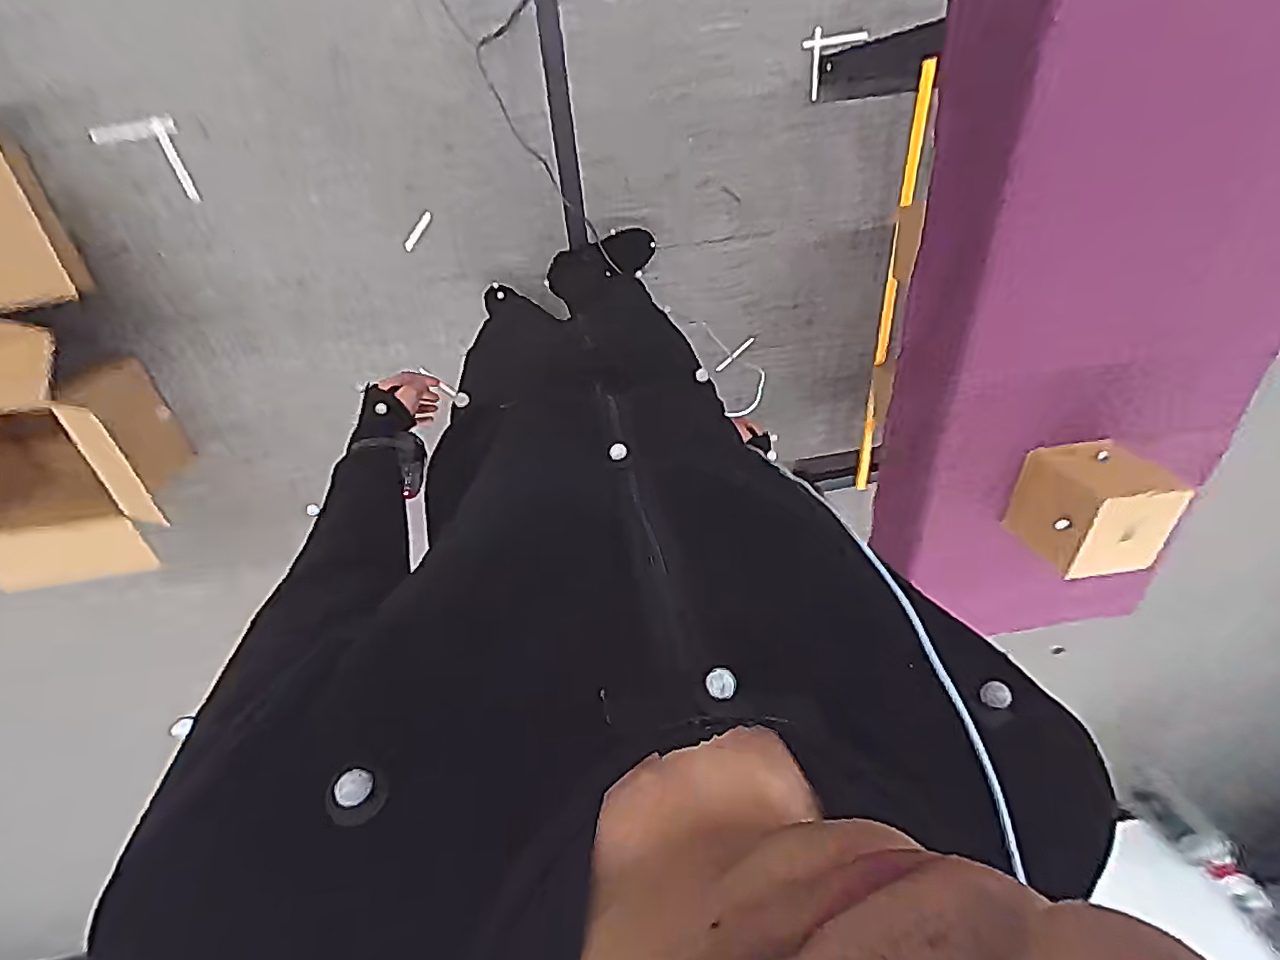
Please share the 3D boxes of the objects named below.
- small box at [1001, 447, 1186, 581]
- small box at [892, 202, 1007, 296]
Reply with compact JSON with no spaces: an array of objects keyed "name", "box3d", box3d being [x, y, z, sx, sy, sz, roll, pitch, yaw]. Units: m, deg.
[{"name":"small box","box3d":[0.811,0.059,0.994,0.168,0.176,0.179,-6,122,-5]},{"name":"small box","box3d":[0.741,-0.568,1.319,0.168,0.176,0.179,-11,125,-3]}]
